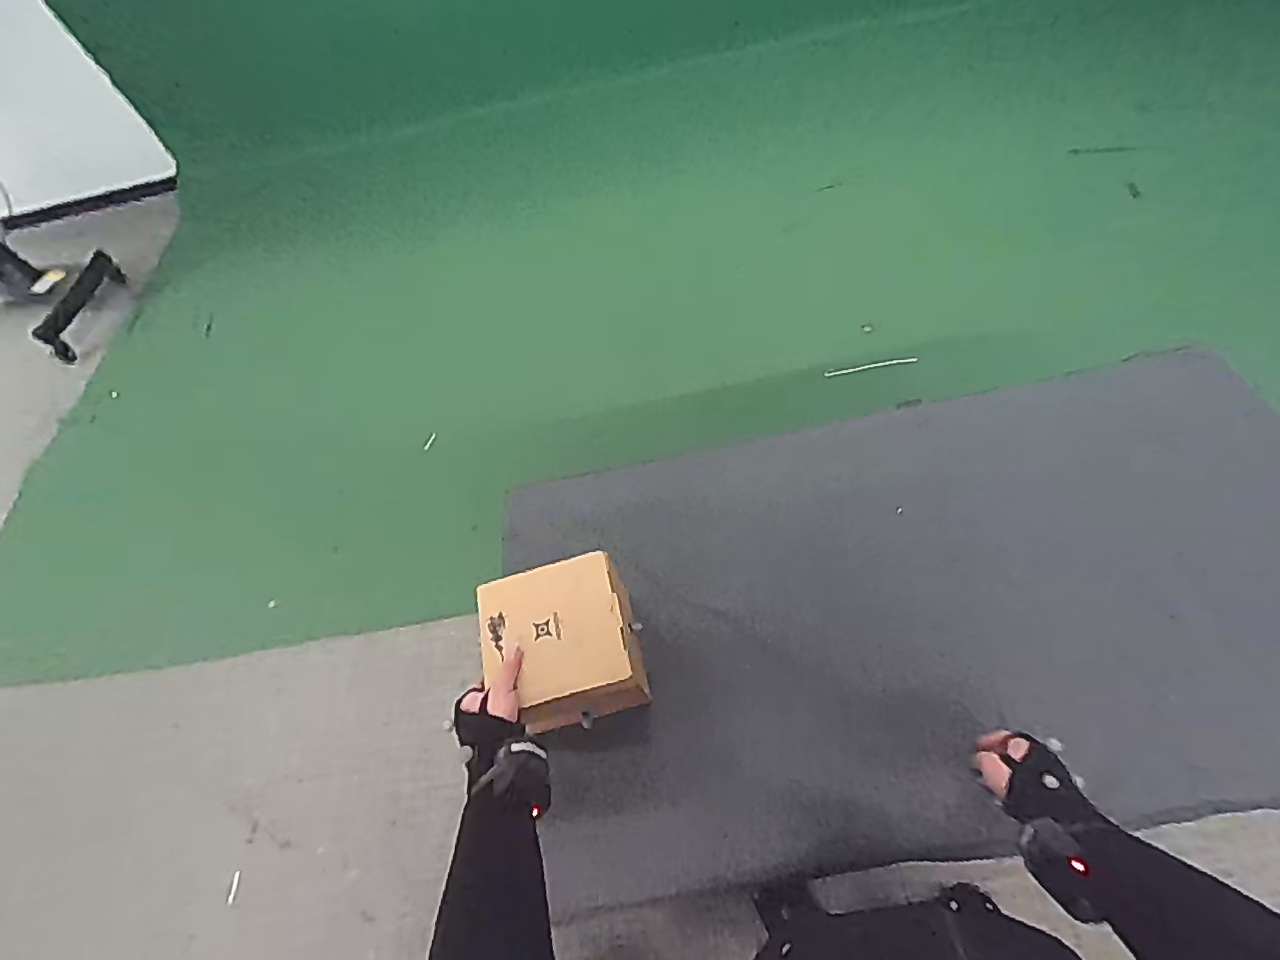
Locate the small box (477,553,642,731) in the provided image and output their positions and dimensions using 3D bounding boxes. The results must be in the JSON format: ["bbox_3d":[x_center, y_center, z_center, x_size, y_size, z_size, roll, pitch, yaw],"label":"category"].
[{"bbox_3d":[-0.099,0.221,0.720,0.179,0.176,0.168,-15,57,0],"label":"small box"}]
